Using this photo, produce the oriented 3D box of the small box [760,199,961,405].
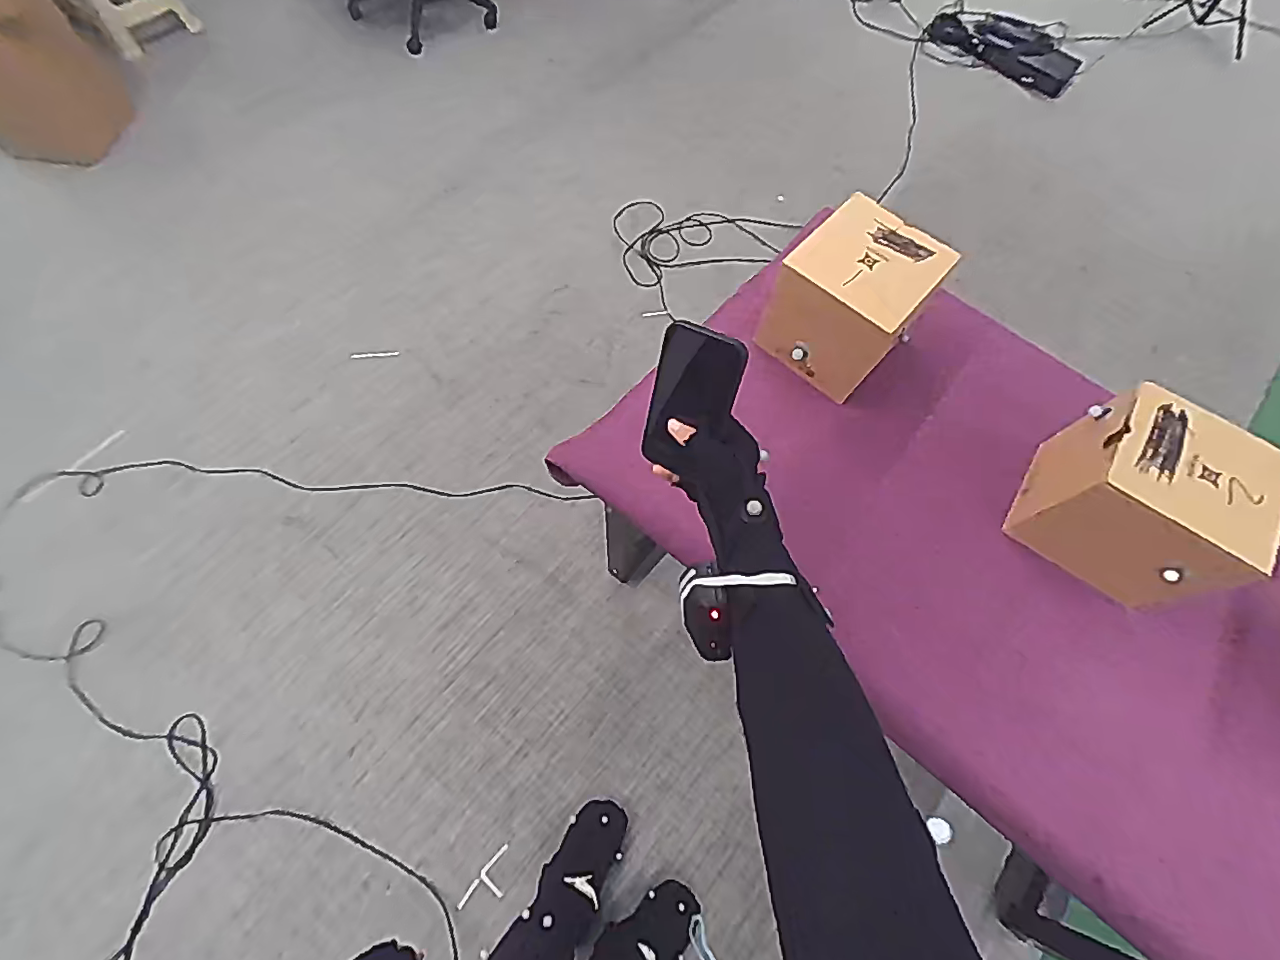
[{"bbox_3d":[0.293,-0.242,0.760,0.168,0.176,0.179,41,72,14],"label":"small box"}]
